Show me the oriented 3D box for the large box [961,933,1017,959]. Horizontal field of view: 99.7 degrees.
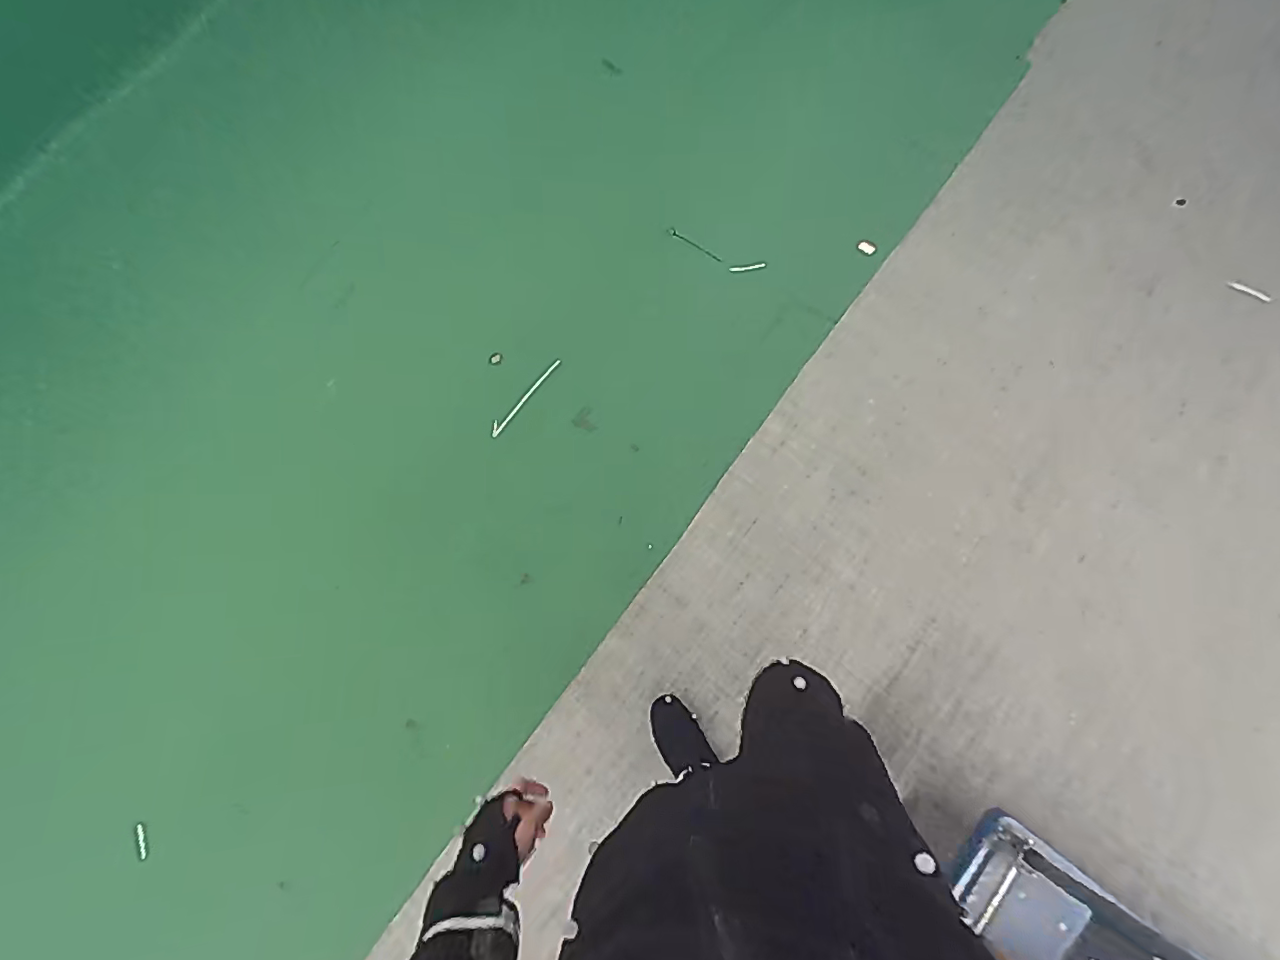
[{"bbox_3d":[0.720,1.076,0.858,0.408,0.320,0.320,36,82,15],"label":"large box"}]
